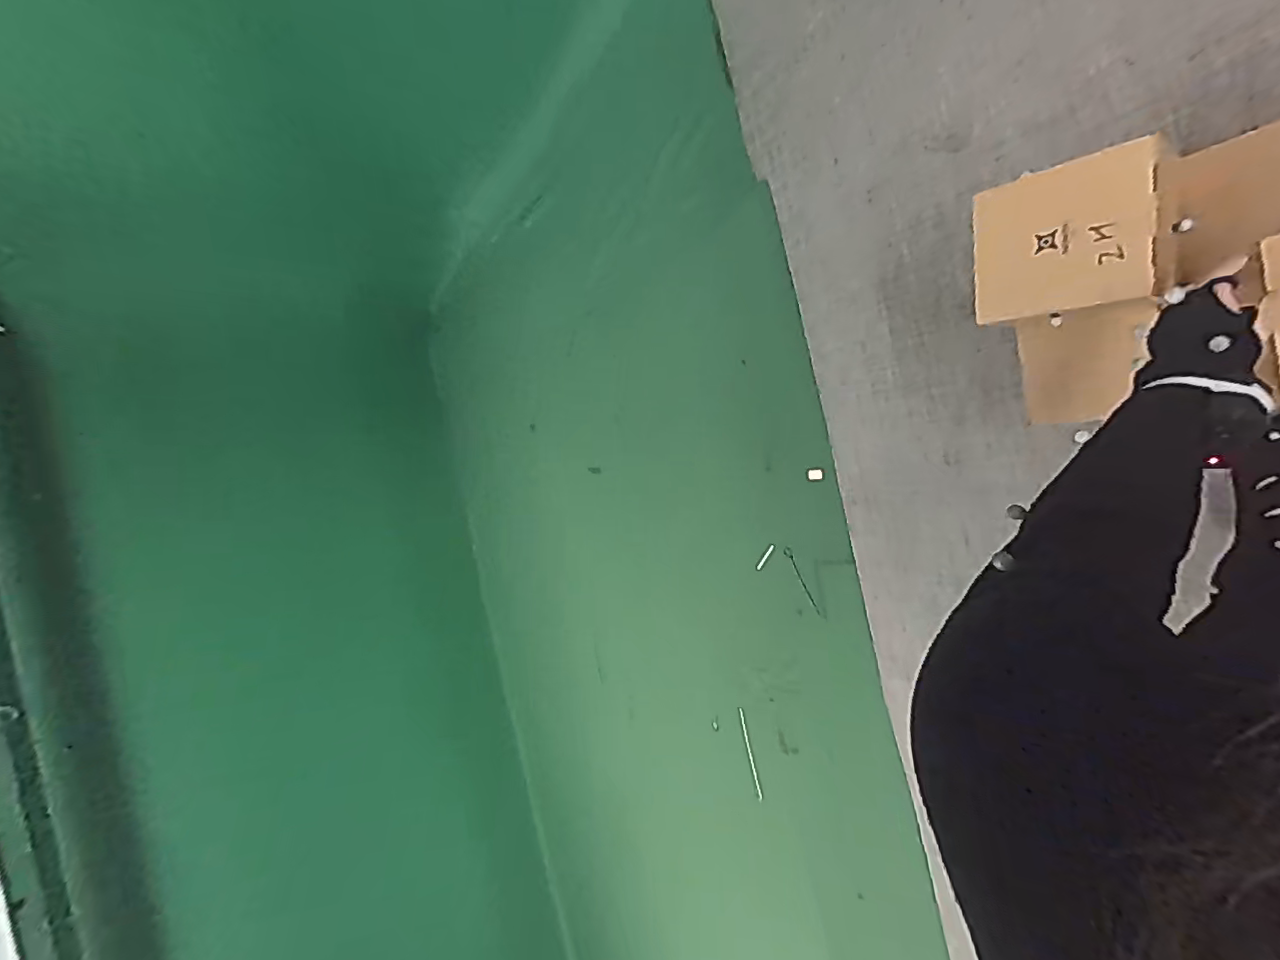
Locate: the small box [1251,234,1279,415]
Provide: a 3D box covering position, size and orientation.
[{"bbox_3d":[0.724,-0.169,0.515,0.168,0.176,0.179,-9,93,52],"label":"small box"}]

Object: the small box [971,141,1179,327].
[{"bbox_3d":[0.554,-0.294,0.693,0.179,0.176,0.168,3,102,50],"label":"small box"}]
